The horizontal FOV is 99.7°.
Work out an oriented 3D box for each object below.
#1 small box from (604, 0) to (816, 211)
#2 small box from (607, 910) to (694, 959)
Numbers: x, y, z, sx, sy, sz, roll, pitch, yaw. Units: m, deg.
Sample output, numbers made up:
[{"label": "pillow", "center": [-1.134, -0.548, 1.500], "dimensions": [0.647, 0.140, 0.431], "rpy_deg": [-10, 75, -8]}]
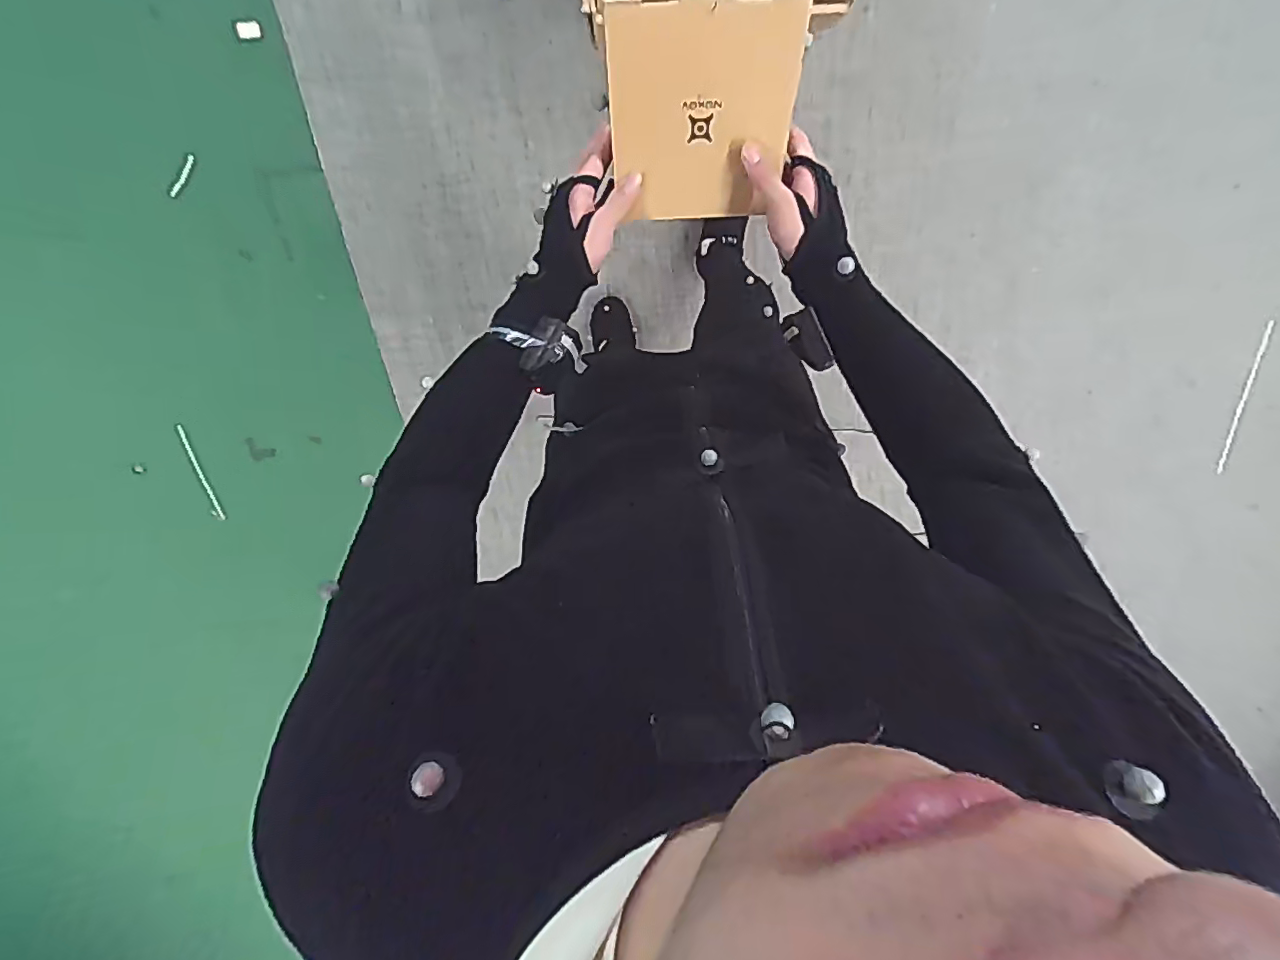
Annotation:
[{"label": "small box", "center": [0.055, -0.390, 0.525], "dimensions": [0.168, 0.176, 0.179], "rpy_deg": [-2, 143, 1]}, {"label": "small box", "center": [0.027, 1.250, 1.385], "dimensions": [0.168, 0.176, 0.179], "rpy_deg": [-41, 110, 15]}]
